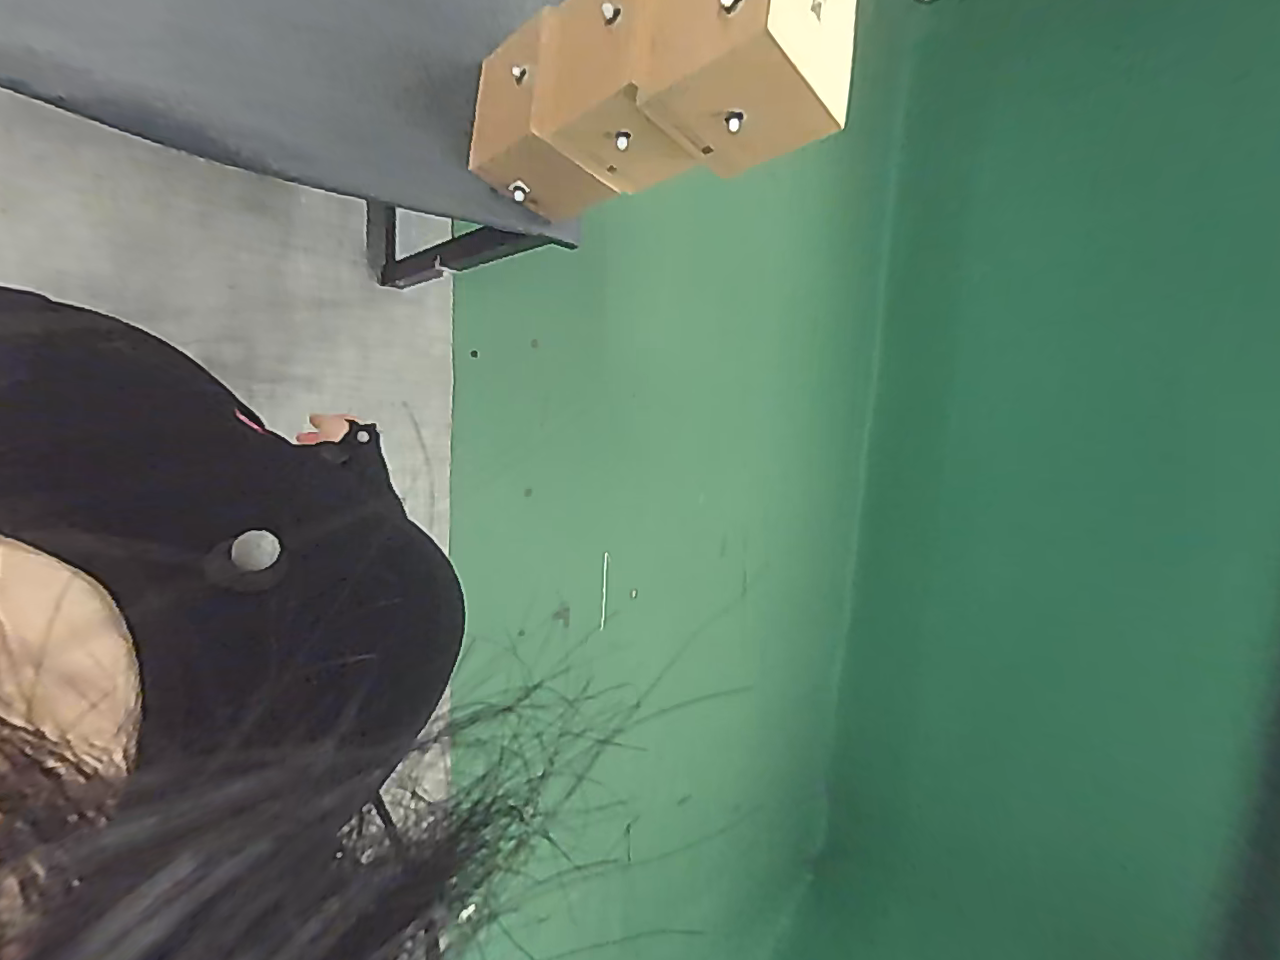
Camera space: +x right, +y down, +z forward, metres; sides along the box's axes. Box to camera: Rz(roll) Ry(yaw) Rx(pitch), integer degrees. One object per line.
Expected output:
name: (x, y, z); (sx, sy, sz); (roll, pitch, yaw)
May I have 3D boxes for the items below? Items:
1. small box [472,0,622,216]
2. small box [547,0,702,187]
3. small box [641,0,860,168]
small box: (-0.130, -0.529, 0.801); (0.168, 0.176, 0.179); (9, 88, -45)
small box: (-0.004, -0.518, 0.699); (0.168, 0.176, 0.179); (7, 88, -46)
small box: (0.118, -0.483, 0.591); (0.168, 0.176, 0.179); (8, 87, -46)
